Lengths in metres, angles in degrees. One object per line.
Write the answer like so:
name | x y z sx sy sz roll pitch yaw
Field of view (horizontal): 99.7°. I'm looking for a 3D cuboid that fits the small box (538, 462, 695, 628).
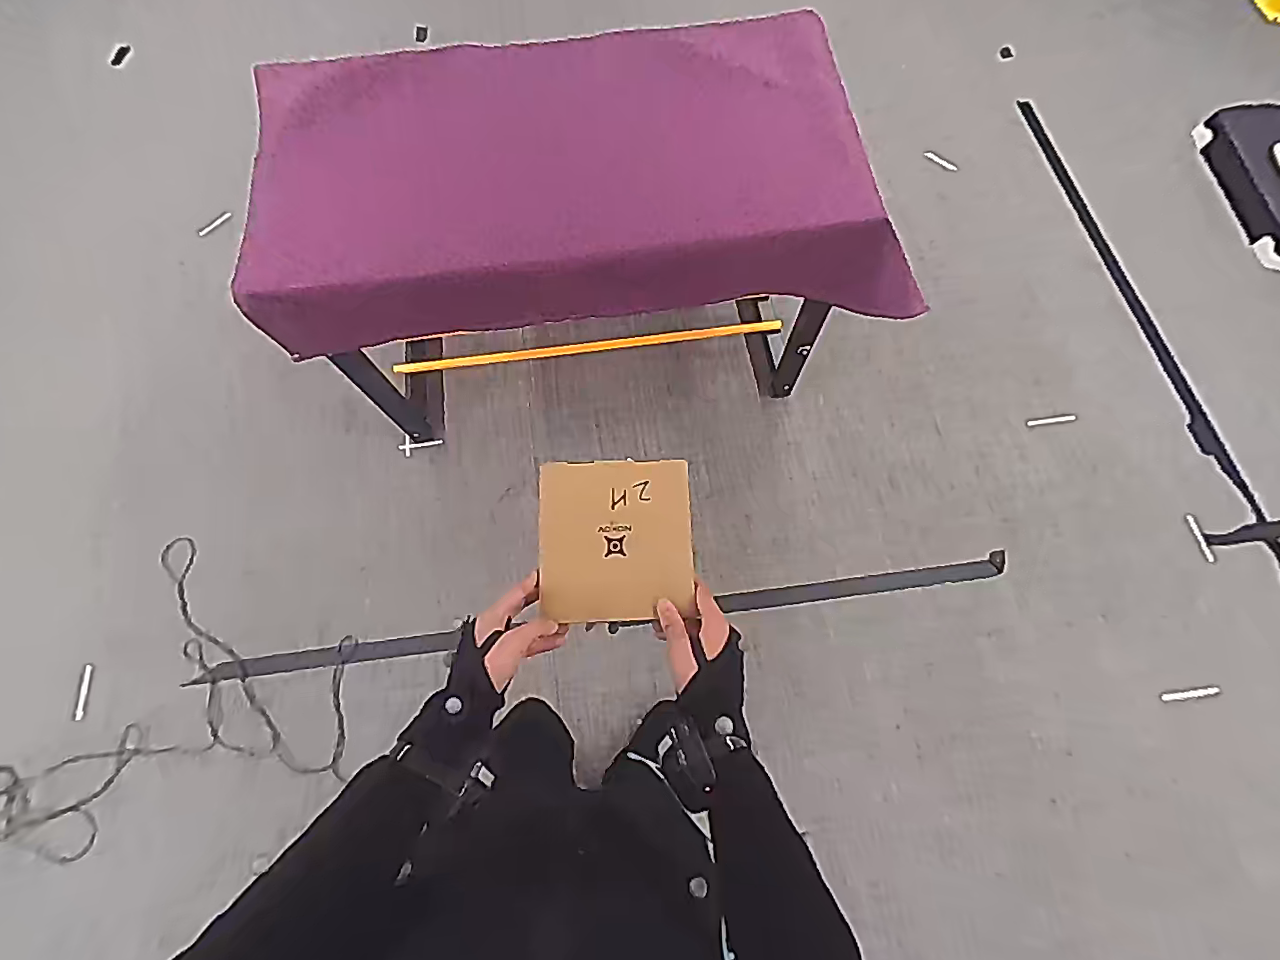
small box | -0.027 0.083 0.652 0.168 0.176 0.179 -1 76 -3
